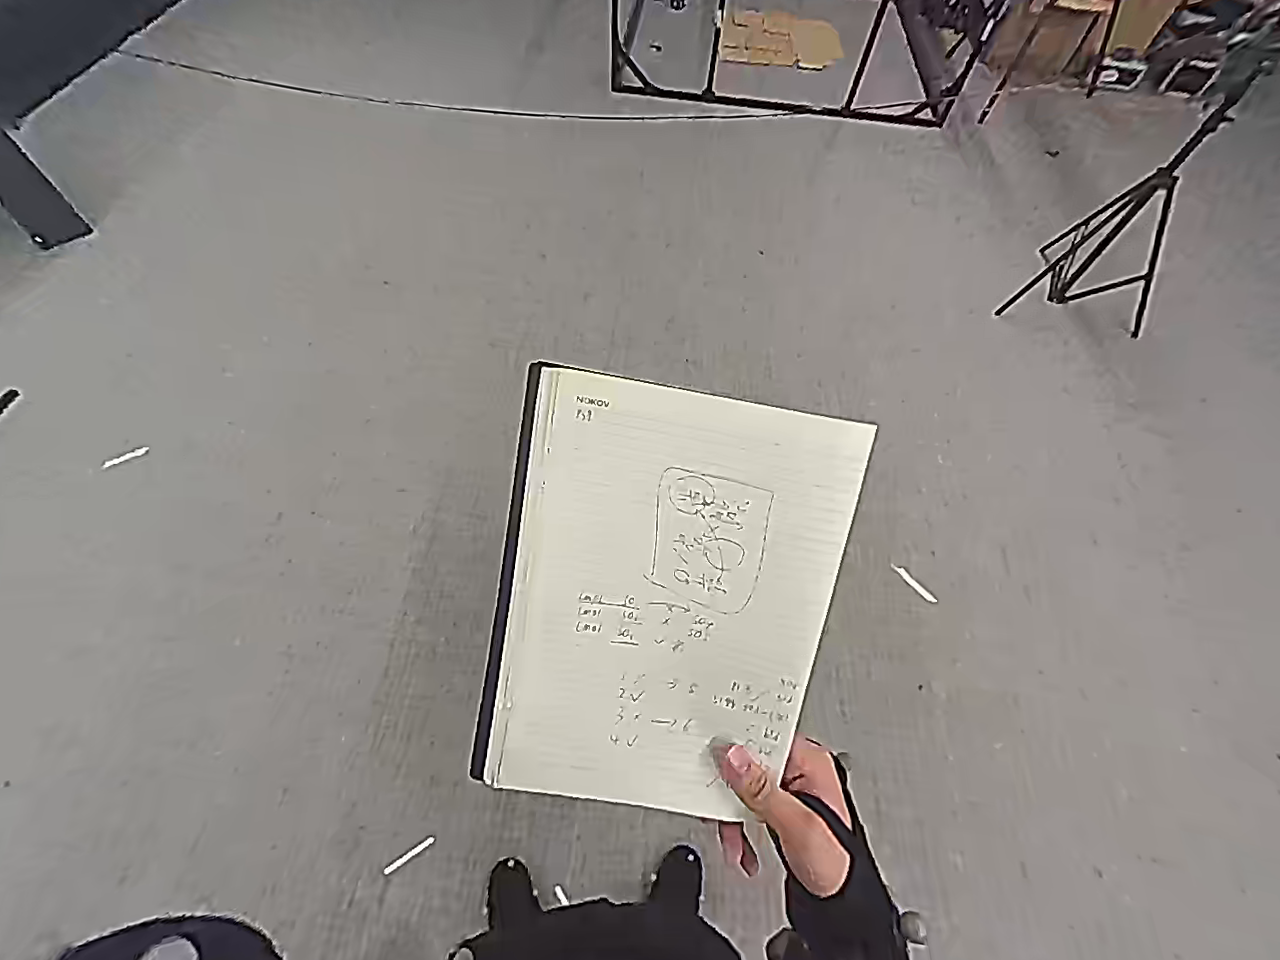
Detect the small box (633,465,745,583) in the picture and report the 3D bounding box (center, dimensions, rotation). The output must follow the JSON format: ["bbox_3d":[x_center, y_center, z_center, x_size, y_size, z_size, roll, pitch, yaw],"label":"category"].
[{"bbox_3d":[0.083,0.087,1.028,0.179,0.176,0.168,-4,59,-5],"label":"small box"}]
